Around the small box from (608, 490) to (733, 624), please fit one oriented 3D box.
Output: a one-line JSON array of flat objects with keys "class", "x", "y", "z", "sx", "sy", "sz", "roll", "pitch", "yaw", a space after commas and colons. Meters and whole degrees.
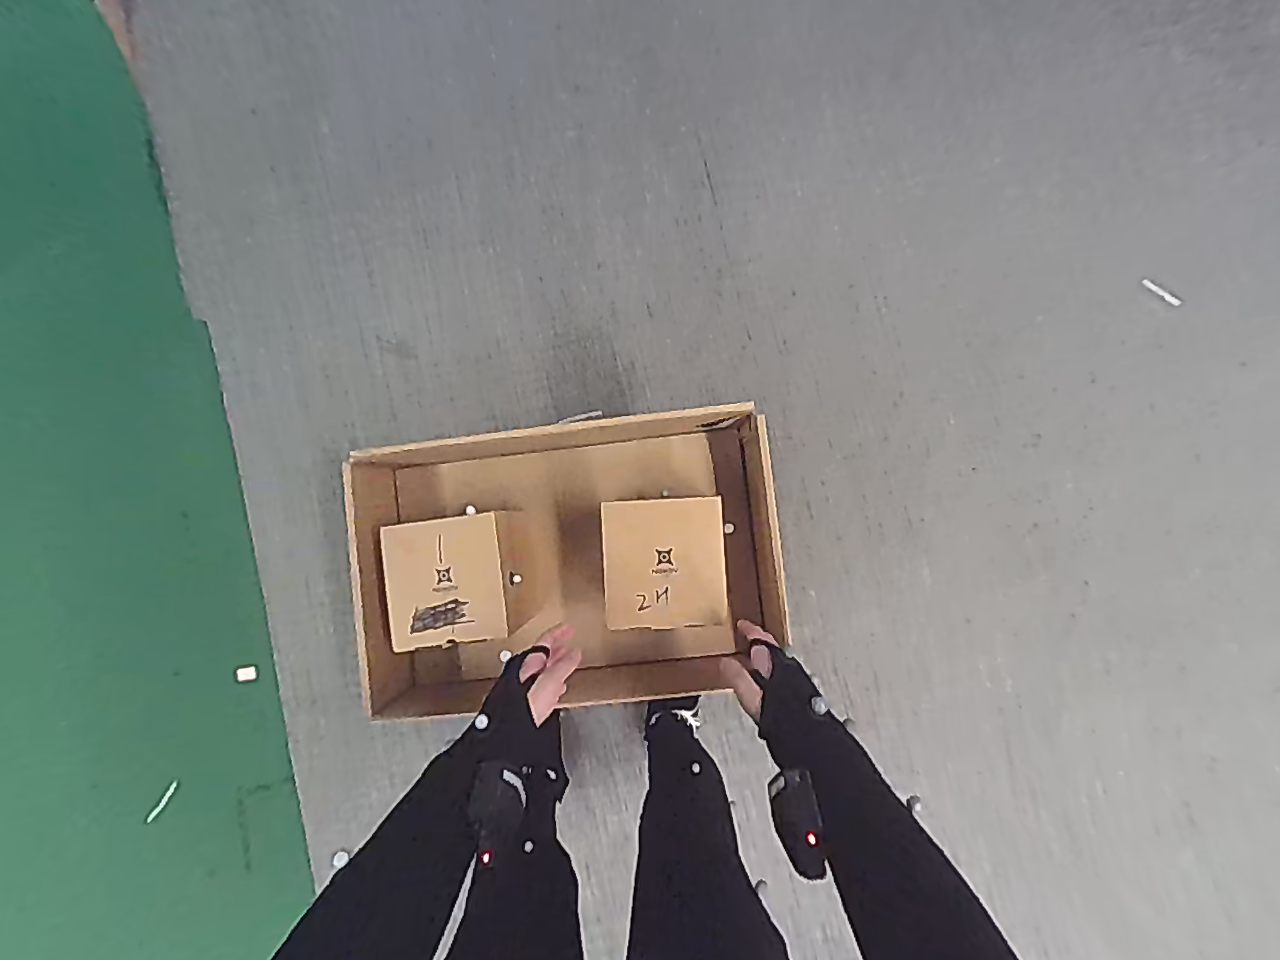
[{"class": "small box", "x": 0.043, "y": 0.107, "z": 0.799, "sx": 0.168, "sy": 0.176, "sz": 0.179, "roll": -2, "pitch": 88, "yaw": 3}]
